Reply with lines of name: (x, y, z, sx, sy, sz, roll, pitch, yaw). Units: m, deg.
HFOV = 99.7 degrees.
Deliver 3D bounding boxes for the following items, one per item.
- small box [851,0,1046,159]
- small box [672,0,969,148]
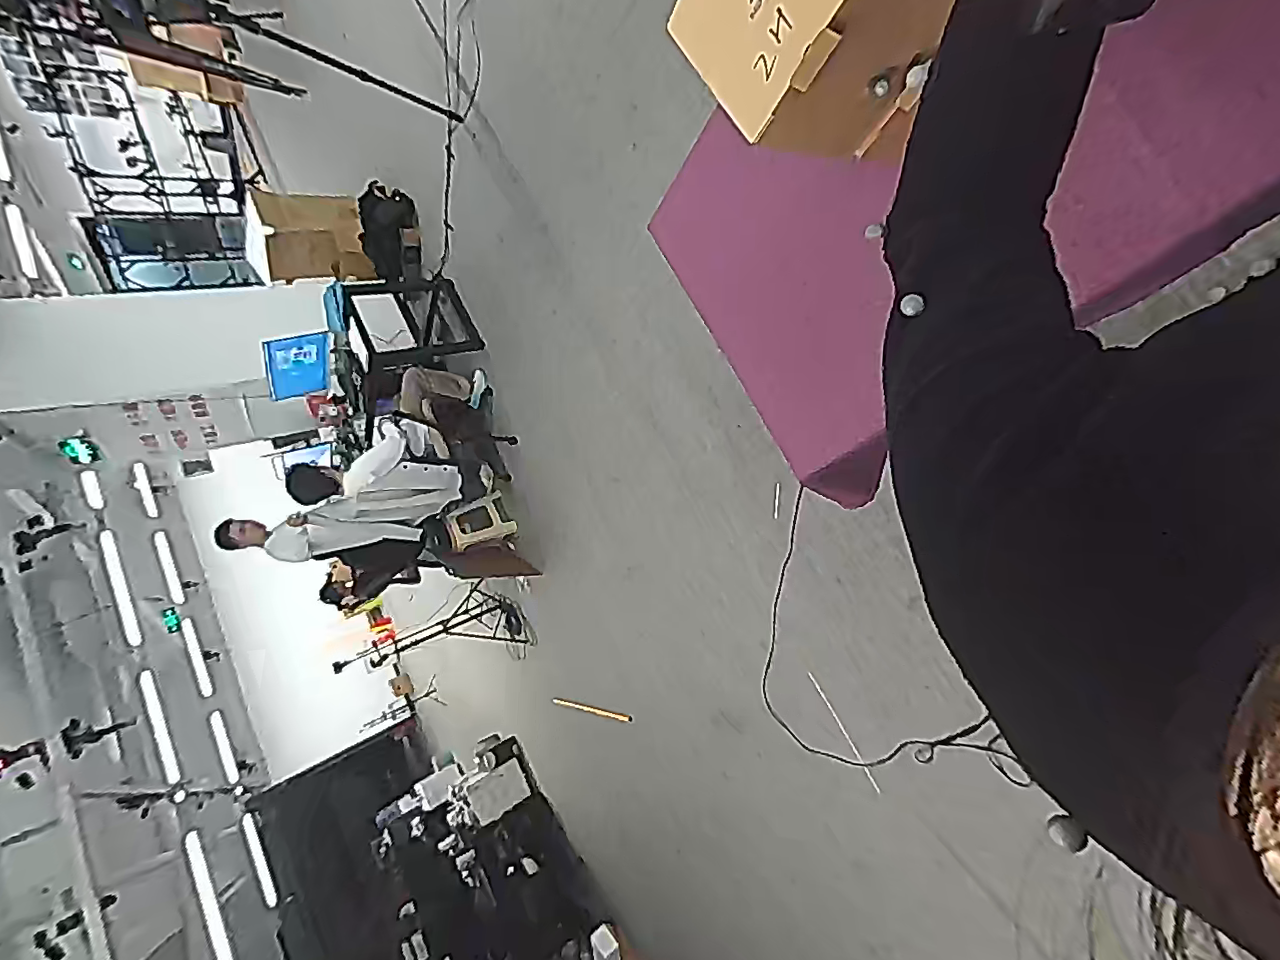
small box: (0.305, -0.494, 0.609, 0.179, 0.176, 0.168, 63, 143, 13)
small box: (0.168, -0.454, 0.524, 0.179, 0.176, 0.168, 62, 144, 13)
